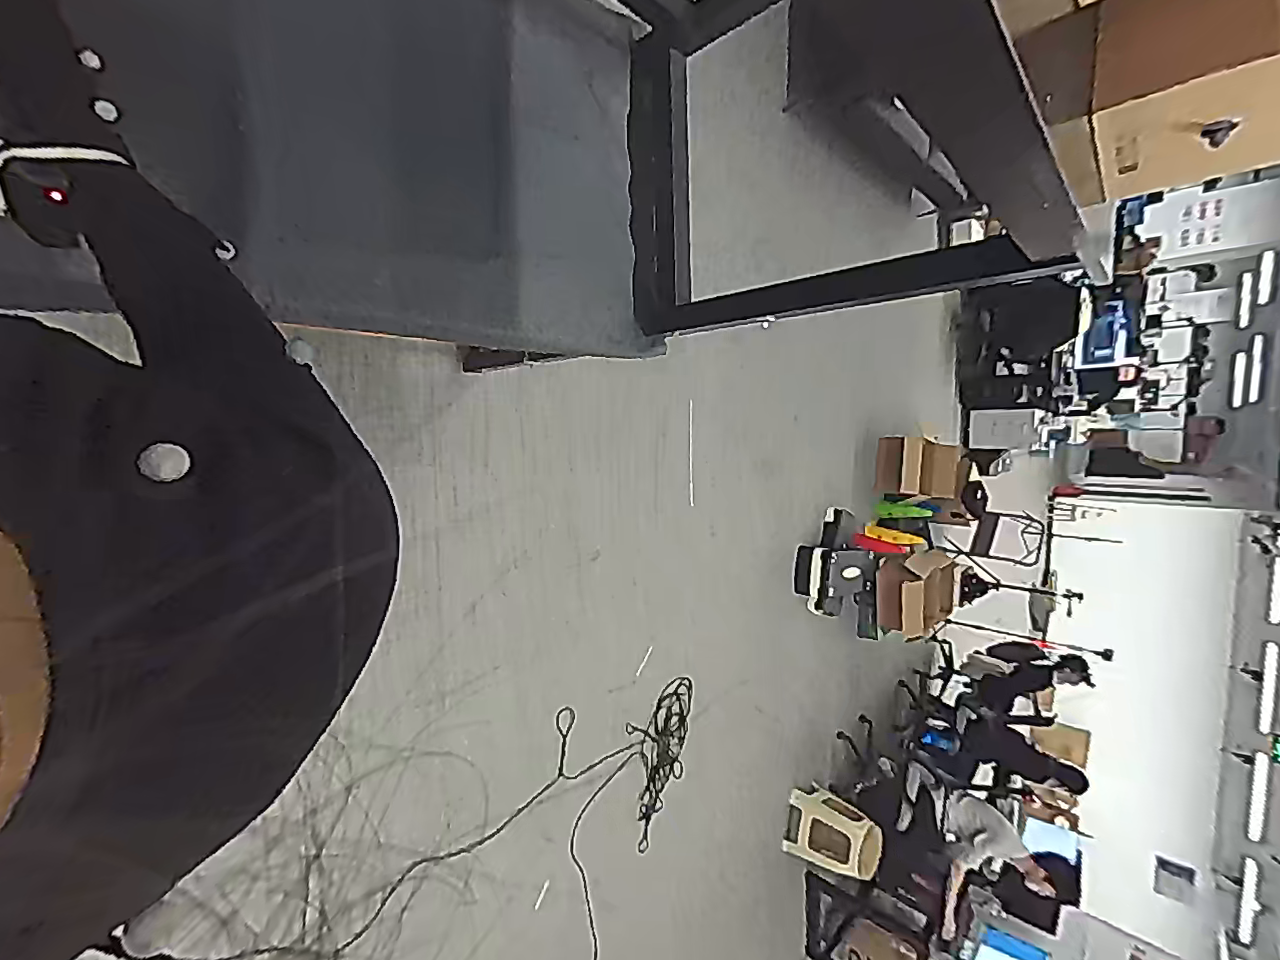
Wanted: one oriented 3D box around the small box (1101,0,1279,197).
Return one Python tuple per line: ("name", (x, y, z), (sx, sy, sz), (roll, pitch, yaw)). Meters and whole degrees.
("small box", (0.498, -0.372, 0.447), (0.168, 0.176, 0.179), (8, 87, -46))
